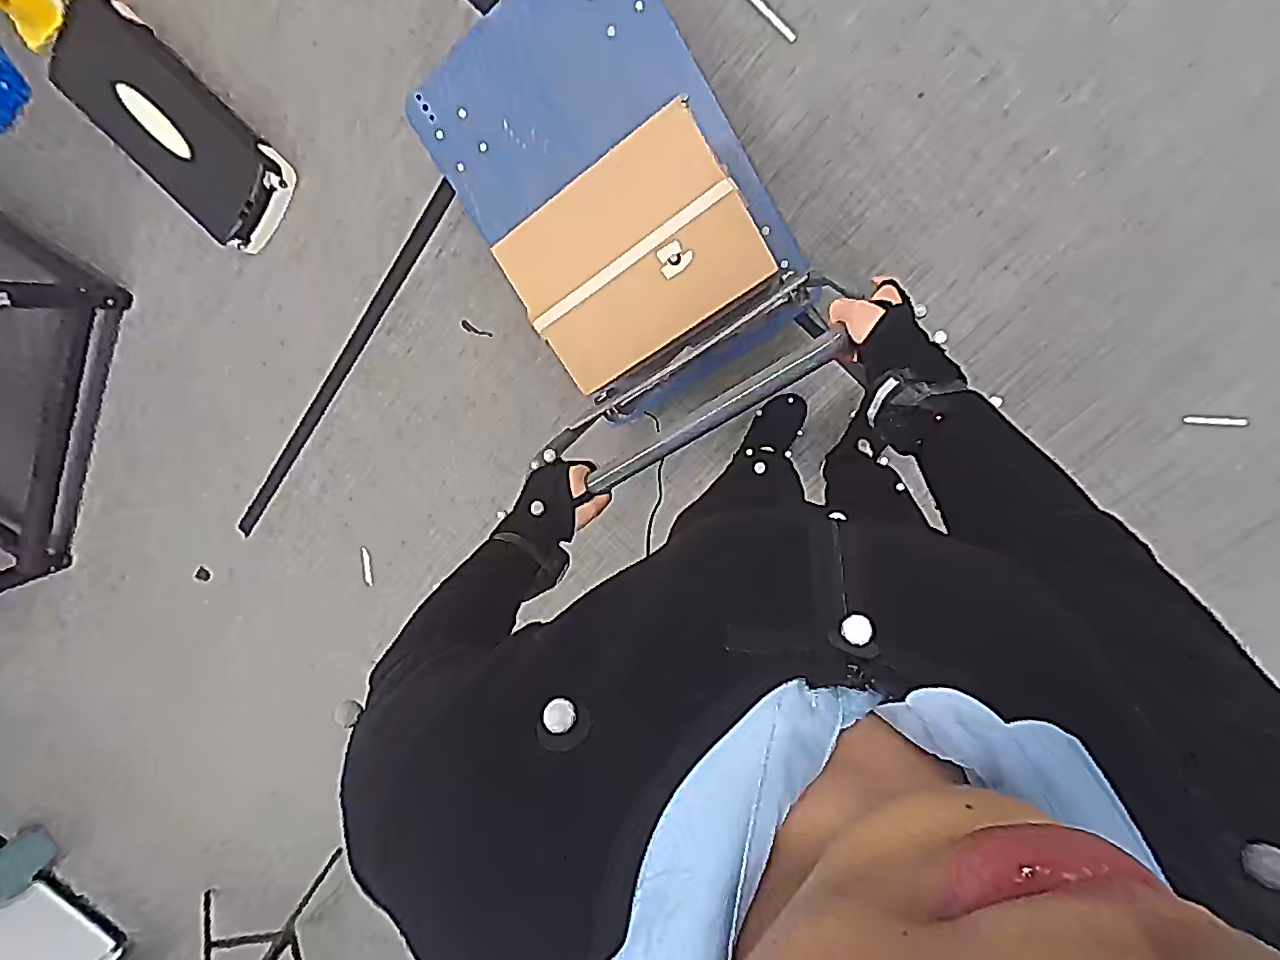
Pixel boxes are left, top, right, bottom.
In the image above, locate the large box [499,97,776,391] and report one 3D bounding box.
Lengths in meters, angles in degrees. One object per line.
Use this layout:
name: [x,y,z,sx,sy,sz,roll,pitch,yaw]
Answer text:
large box: [0.011,-0.424,1.074,0.408,0.320,0.320,-31,99,17]
